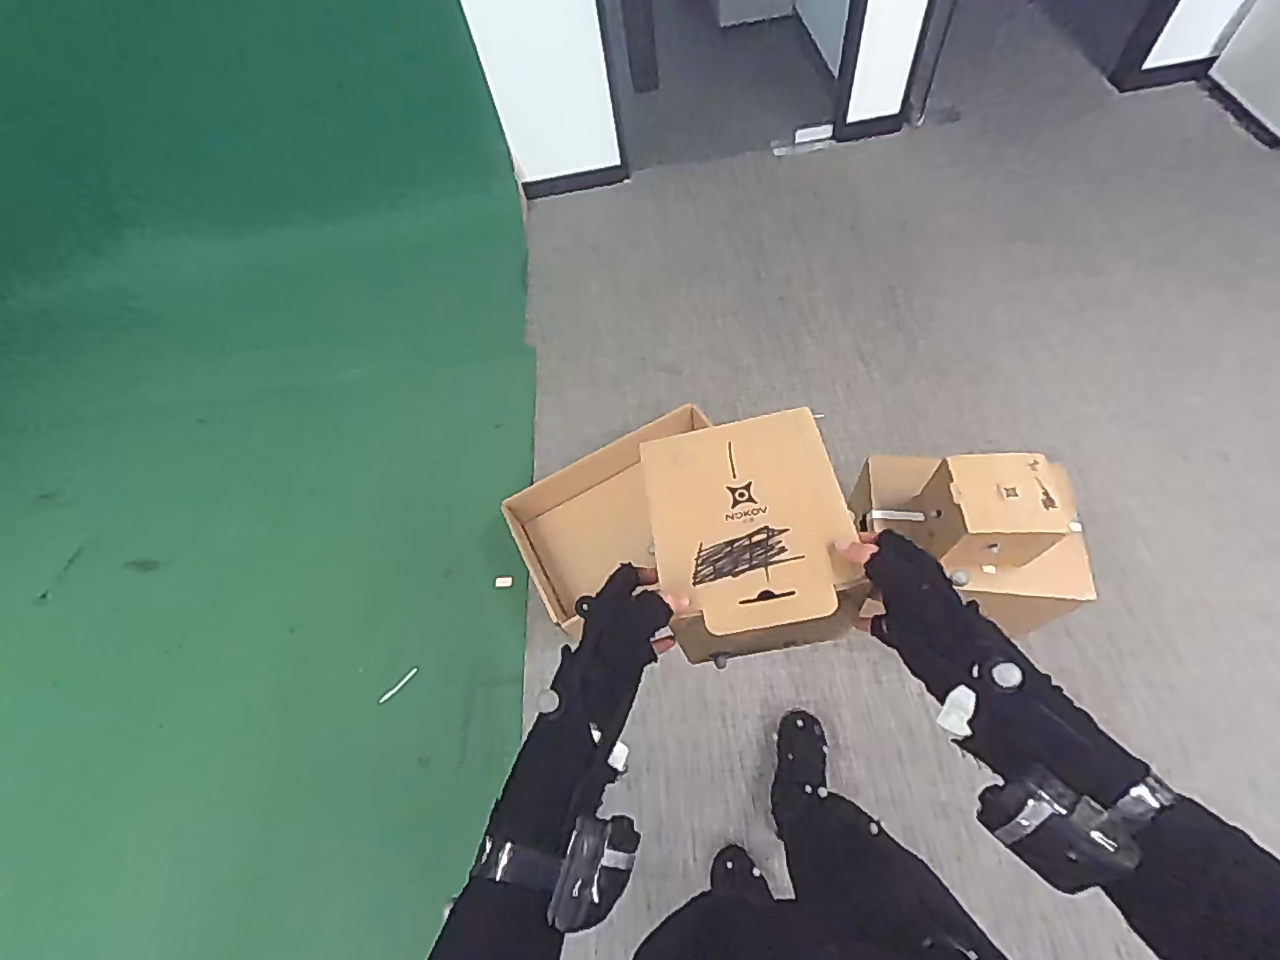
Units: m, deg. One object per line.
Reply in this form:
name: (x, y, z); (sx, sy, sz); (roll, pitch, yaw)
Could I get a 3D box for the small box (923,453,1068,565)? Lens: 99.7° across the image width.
small box: (0.676, 0.062, 1.059); (0.179, 0.176, 0.168); (-2, 61, 8)

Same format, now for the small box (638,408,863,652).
small box: (0.103, 0.061, 0.537); (0.168, 0.176, 0.179); (-12, 57, 6)
